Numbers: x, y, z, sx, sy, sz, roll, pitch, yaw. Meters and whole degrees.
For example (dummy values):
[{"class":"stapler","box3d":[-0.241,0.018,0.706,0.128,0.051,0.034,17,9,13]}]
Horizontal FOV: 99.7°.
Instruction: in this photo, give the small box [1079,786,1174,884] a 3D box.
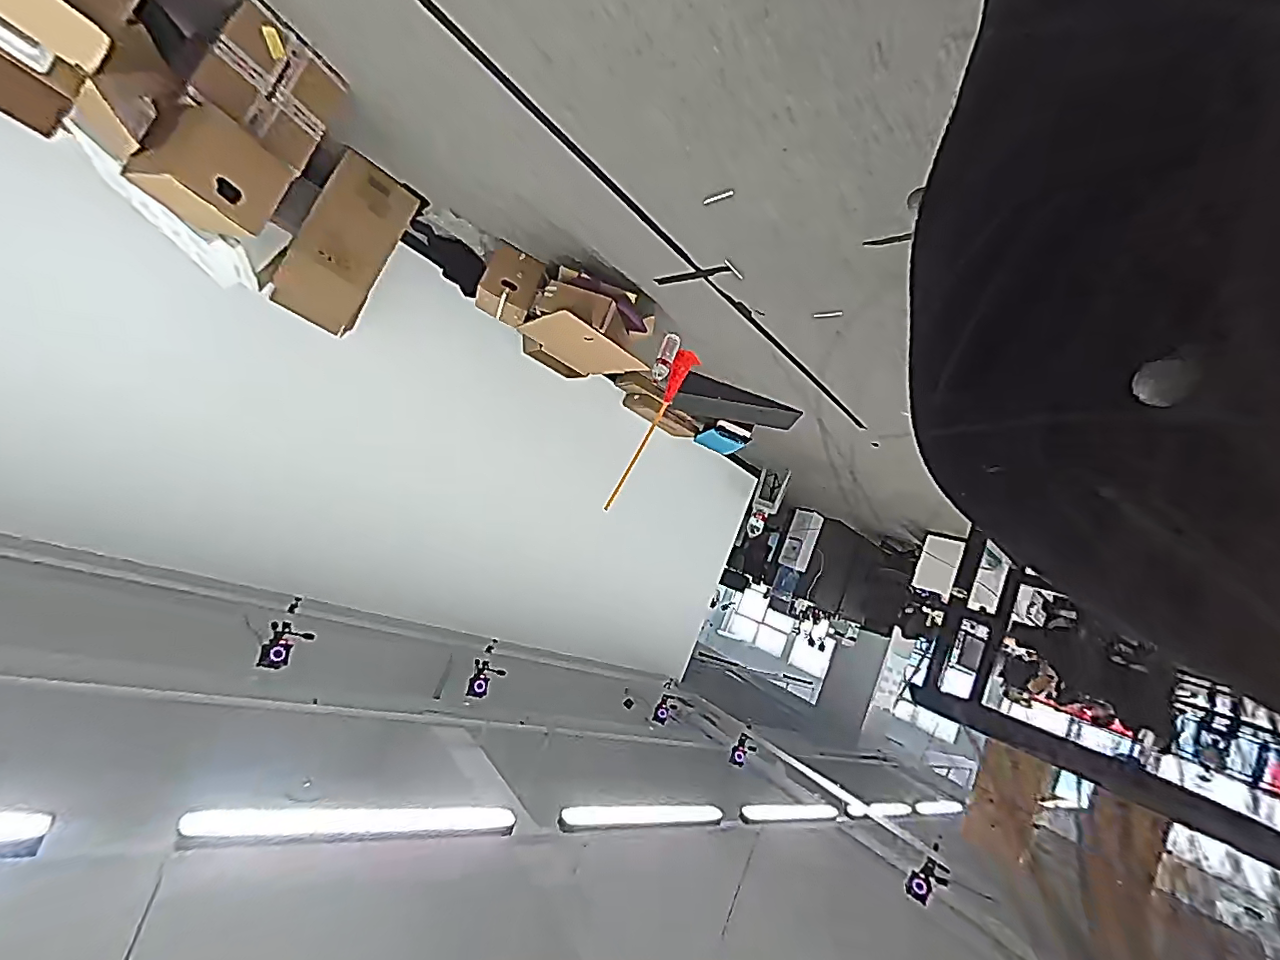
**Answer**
[{"class":"small box","box3d":[1.376,0.991,1.527,0.179,0.176,0.168,25,173,-39]}]

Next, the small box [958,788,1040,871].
[{"class":"small box","box3d":[1.145,1.101,1.722,0.179,0.176,0.168,28,171,-41]}]

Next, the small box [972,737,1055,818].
[{"class":"small box","box3d":[1.205,0.950,1.739,0.179,0.176,0.168,27,170,-40]}]

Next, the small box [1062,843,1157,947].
[{"class":"small box","box3d":[1.317,1.142,1.513,0.179,0.176,0.168,27,171,-40]}]
